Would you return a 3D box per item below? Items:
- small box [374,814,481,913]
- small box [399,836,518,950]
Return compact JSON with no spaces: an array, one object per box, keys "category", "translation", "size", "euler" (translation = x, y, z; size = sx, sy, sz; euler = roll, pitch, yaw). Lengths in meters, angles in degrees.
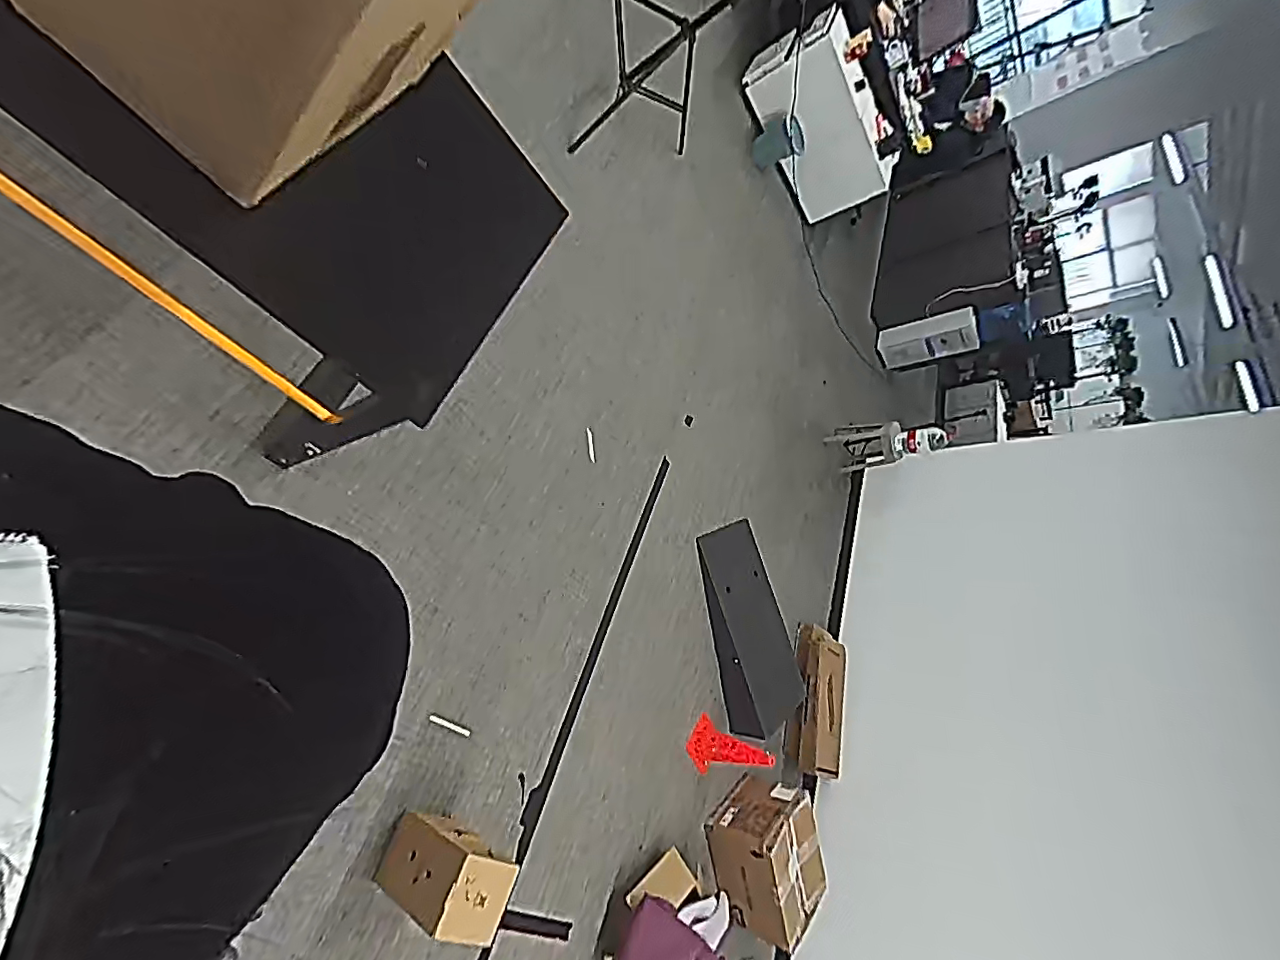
[{"category":"small box","translation":[-0.561,1.006,1.421],"size":[0.168,0.176,0.179],"euler":[42,56,-36]},{"category":"small box","translation":[-0.439,0.994,1.310],"size":[0.179,0.176,0.168],"euler":[46,53,-34]}]
